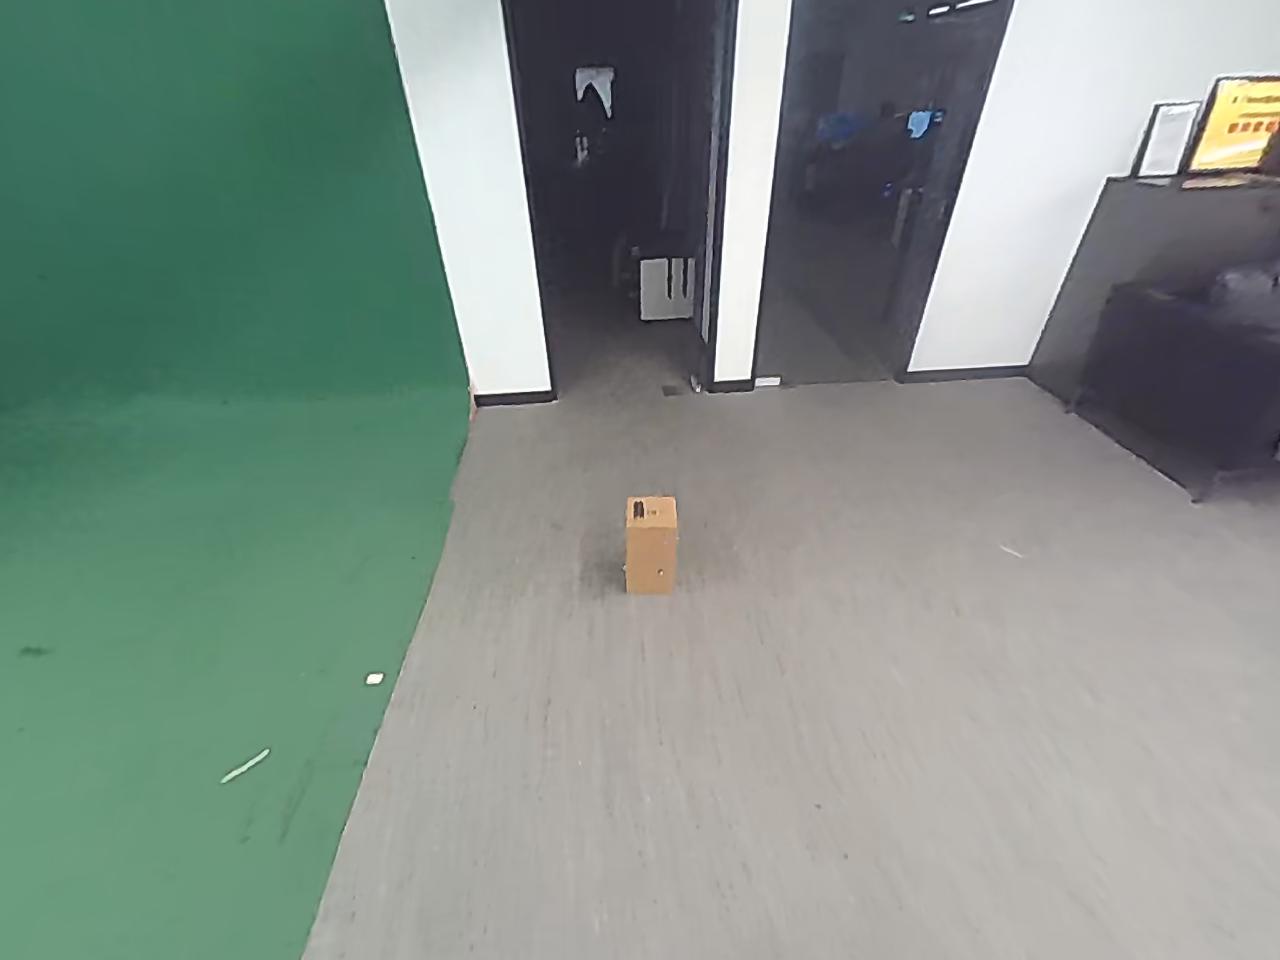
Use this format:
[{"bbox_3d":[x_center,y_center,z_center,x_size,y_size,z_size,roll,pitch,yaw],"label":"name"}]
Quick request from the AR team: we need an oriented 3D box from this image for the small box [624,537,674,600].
[{"bbox_3d":[0.035,0.331,2.014,0.179,0.176,0.168,0,36,2],"label":"small box"}]
